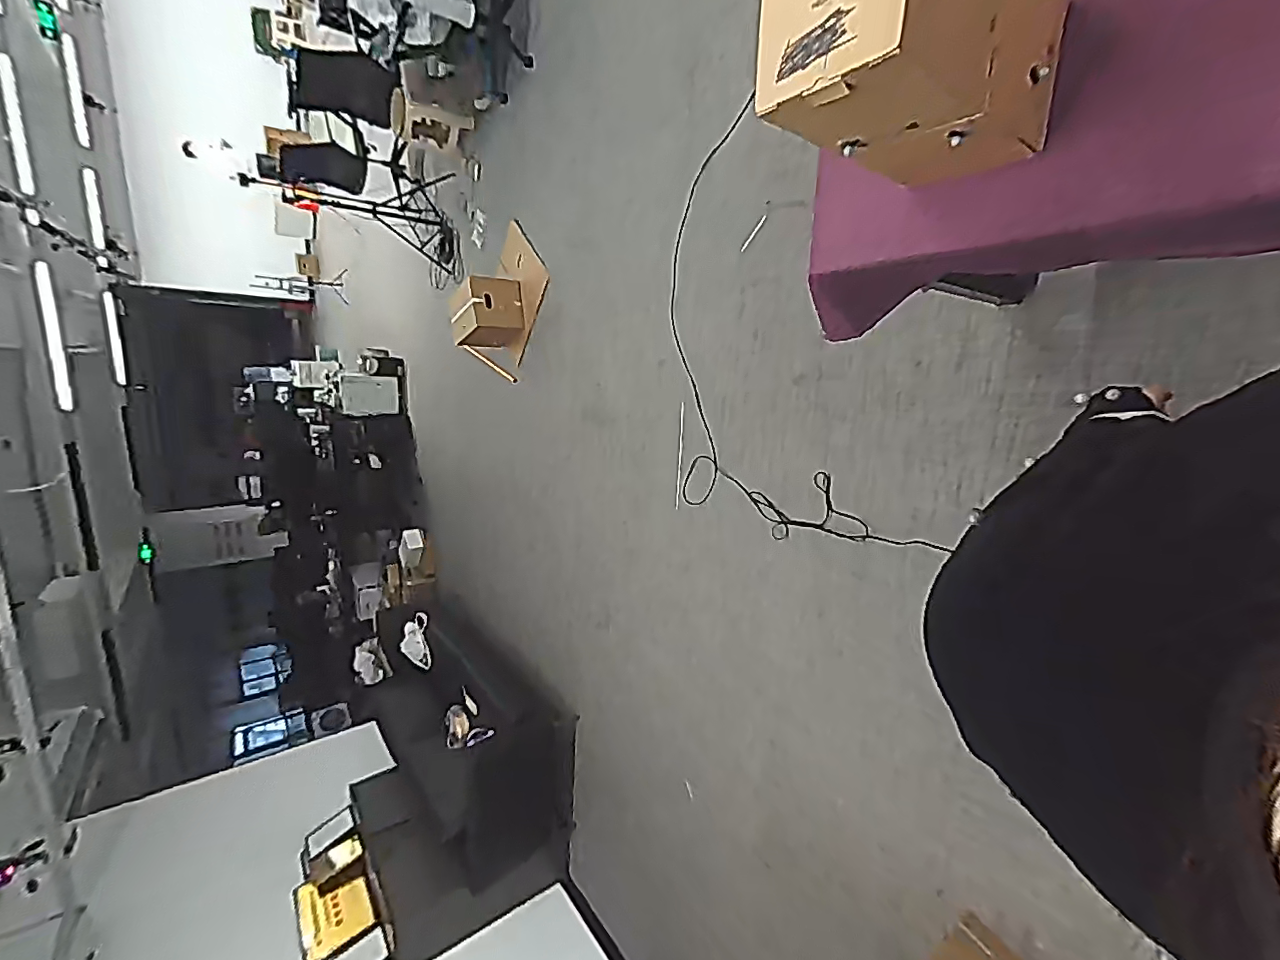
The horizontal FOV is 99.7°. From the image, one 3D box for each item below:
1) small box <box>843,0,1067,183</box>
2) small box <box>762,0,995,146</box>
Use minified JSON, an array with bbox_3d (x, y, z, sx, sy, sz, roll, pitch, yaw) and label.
[{"bbox_3d":[0.386,-0.492,0.671,0.179,0.176,0.168,17,108,51],"label":"small box"},{"bbox_3d":[0.253,-0.483,0.574,0.168,0.176,0.179,16,106,51],"label":"small box"}]
